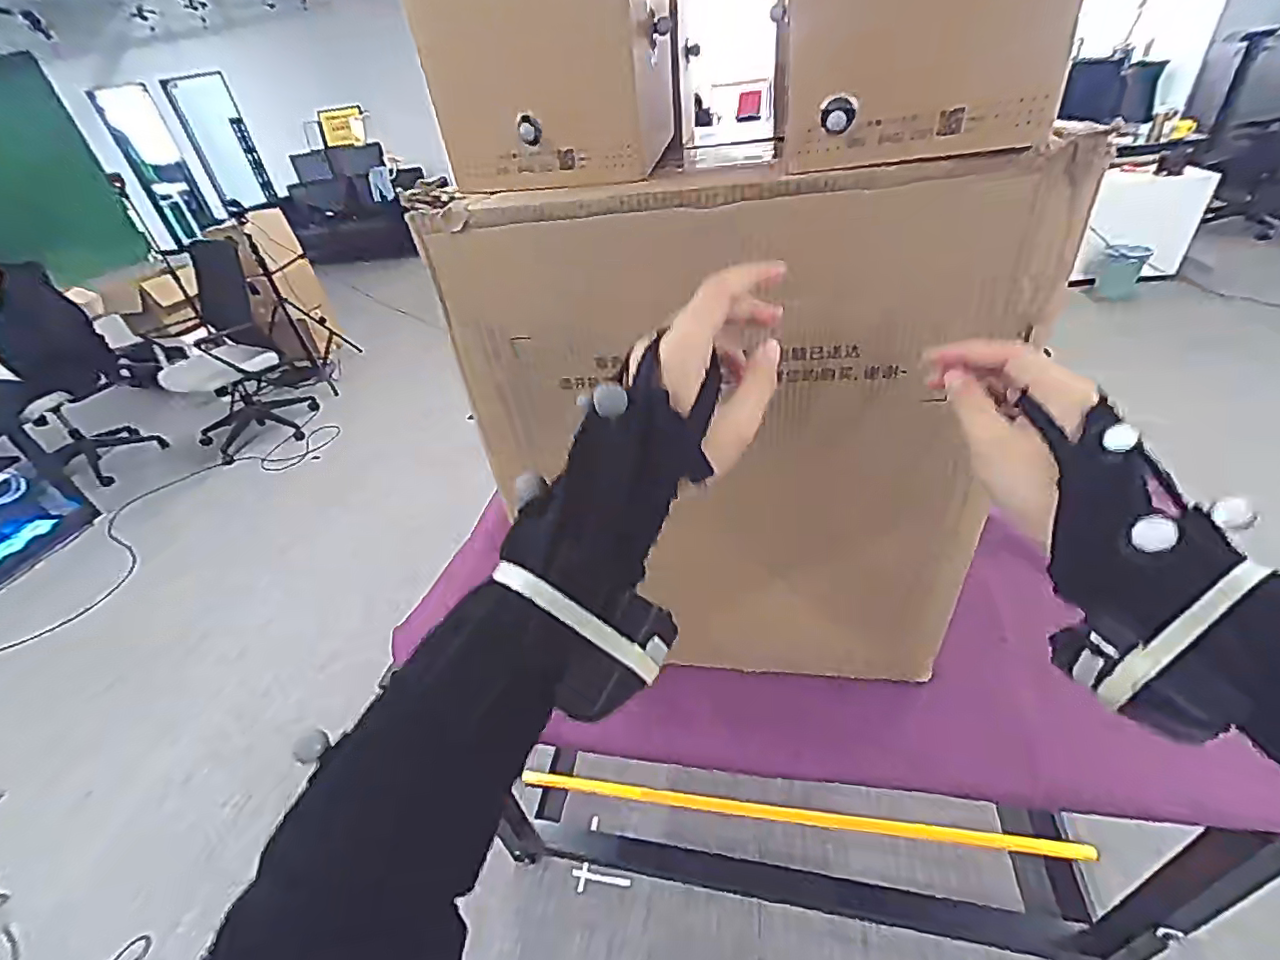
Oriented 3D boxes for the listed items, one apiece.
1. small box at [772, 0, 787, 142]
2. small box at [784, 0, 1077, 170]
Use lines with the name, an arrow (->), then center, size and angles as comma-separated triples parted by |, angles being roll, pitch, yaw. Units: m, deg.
small box -> 0.217, -0.444, 0.532 | 0.168, 0.176, 0.179 | 0, 37, 12
small box -> 0.191, -0.331, 0.384 | 0.168, 0.176, 0.179 | 1, 38, 15
